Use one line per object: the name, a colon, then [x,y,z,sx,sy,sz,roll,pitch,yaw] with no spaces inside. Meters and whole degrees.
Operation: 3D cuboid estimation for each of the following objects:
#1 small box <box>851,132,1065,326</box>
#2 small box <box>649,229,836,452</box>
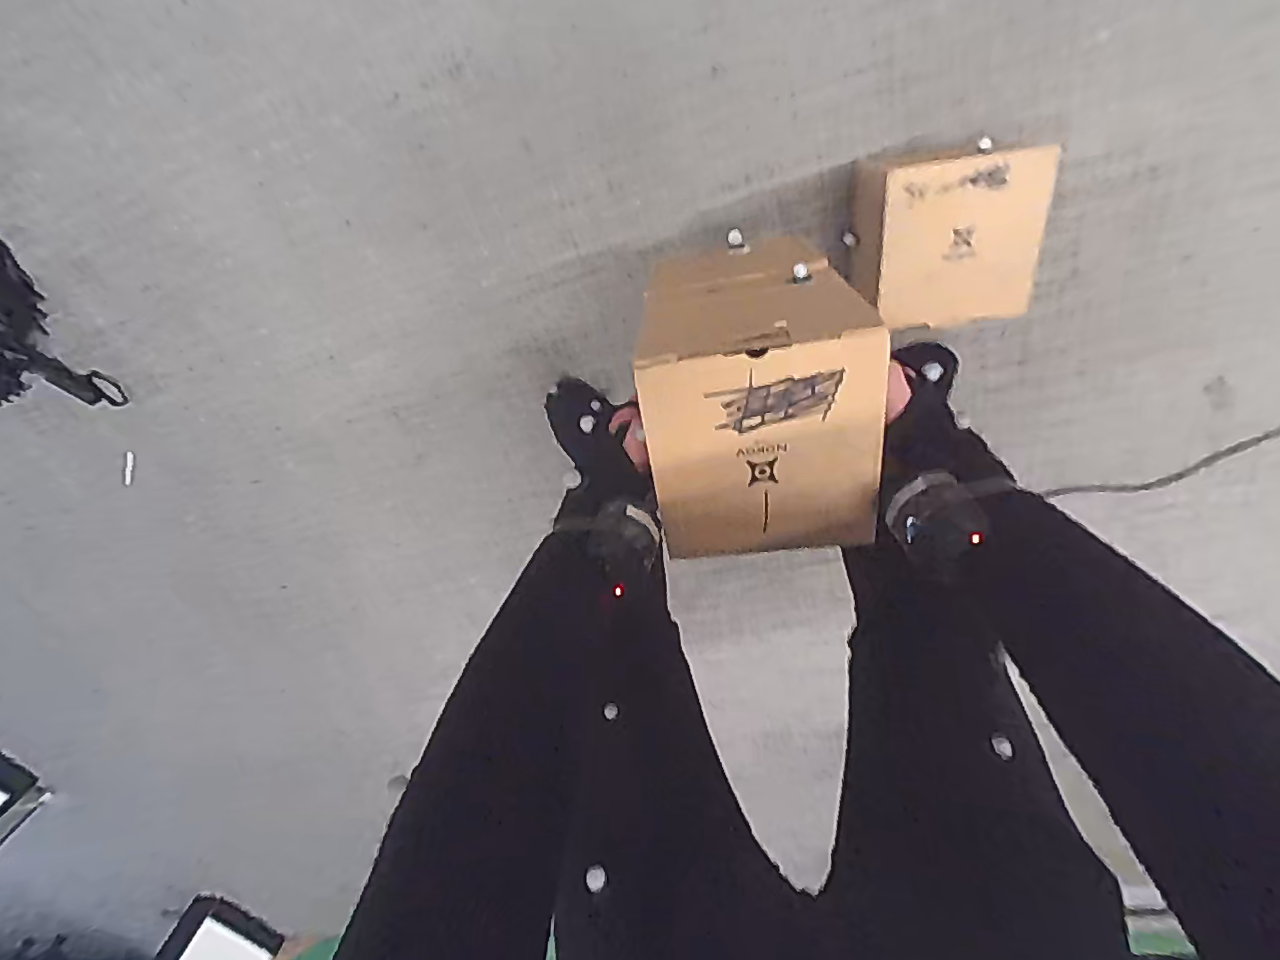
small box: [0.362,-0.307,0.659,0.168,0.176,0.179,-4,124,10]
small box: [0.111,-0.154,0.586,0.168,0.176,0.179,-8,121,10]
